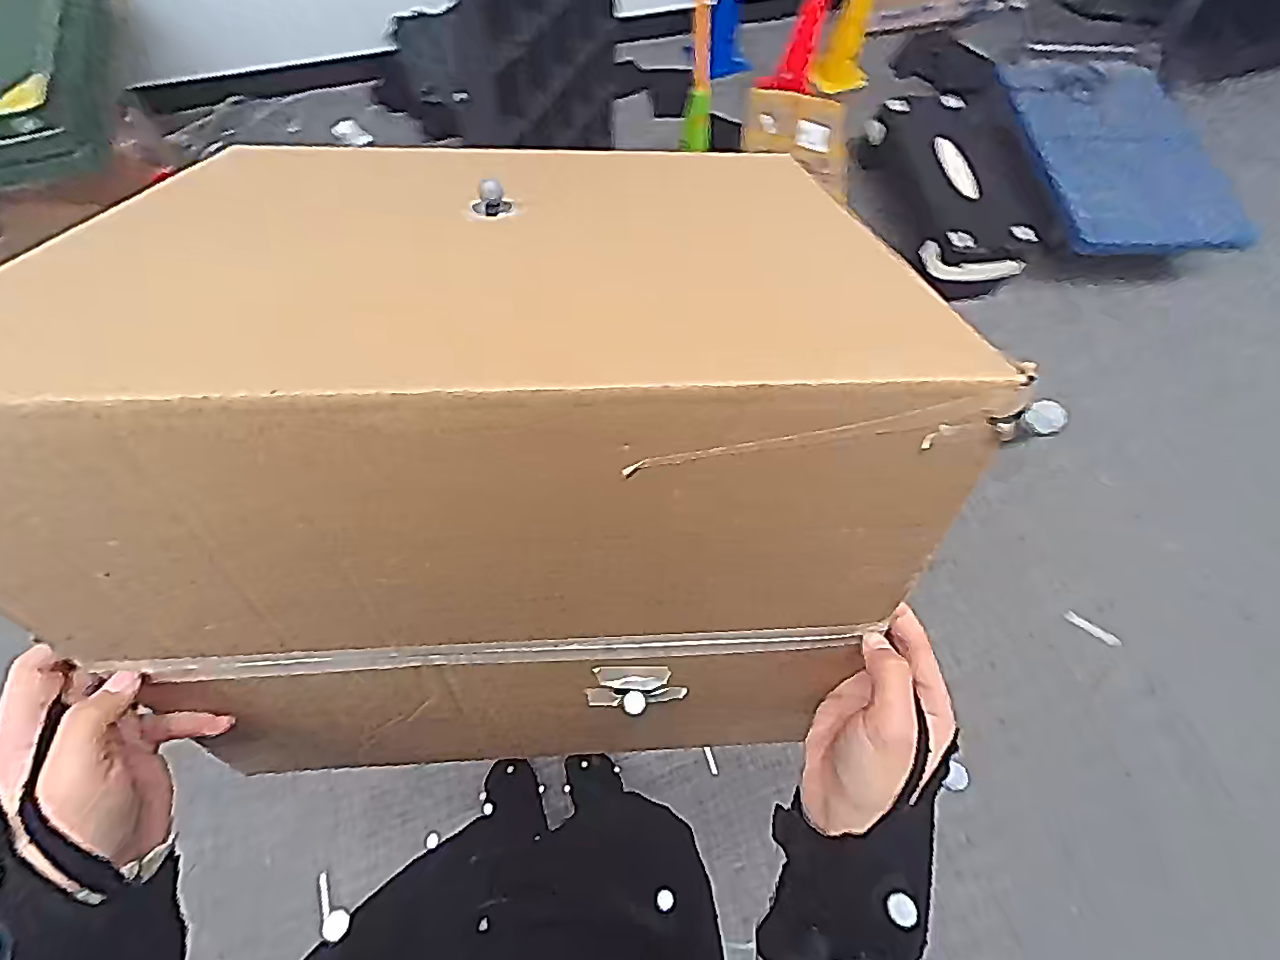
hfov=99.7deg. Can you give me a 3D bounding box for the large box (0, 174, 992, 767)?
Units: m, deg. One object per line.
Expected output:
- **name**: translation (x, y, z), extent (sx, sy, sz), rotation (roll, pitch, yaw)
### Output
- **large box**: translation (-0.079, -0.017, 0.398), extent (0.408, 0.320, 0.320), rotation (-2, 44, -3)
